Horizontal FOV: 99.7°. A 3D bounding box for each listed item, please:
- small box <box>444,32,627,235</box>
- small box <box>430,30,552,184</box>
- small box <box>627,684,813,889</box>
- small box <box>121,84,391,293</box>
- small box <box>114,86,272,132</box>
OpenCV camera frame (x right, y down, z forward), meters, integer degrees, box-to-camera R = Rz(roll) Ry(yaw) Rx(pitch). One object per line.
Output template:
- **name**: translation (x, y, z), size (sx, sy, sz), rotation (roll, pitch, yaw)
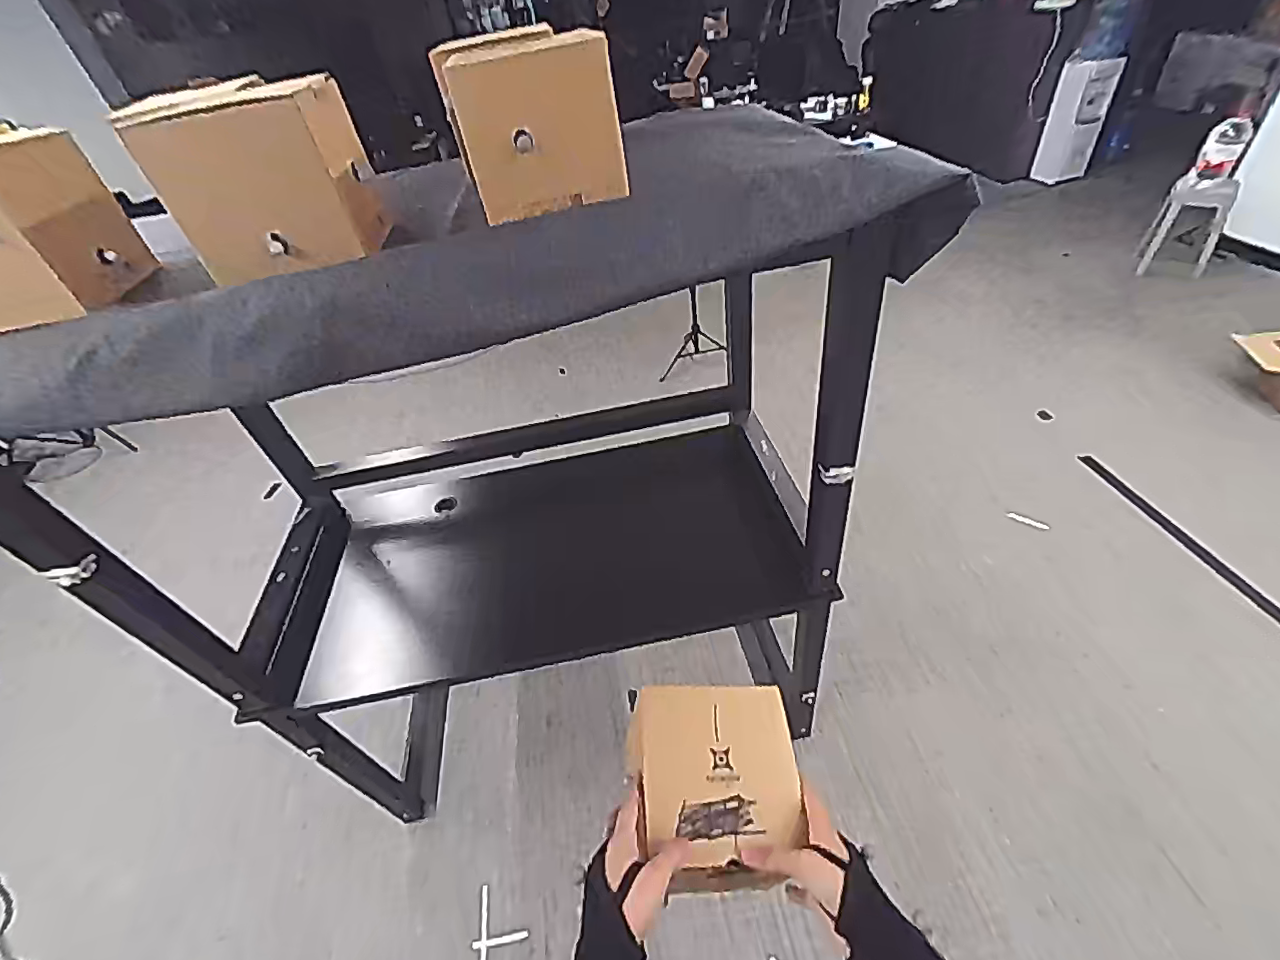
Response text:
- **small box**: translation (-0.118, -0.410, 0.647), size (0.168, 0.176, 0.179), rotation (-13, 41, -3)
- **small box**: translation (-0.205, -0.589, 0.857), size (0.179, 0.176, 0.168), rotation (-12, 43, -1)
- **small box**: translation (0.075, 0.355, 0.621), size (0.168, 0.176, 0.179), rotation (3, 46, -6)
- **small box**: translation (-0.420, -0.342, 0.636), size (0.179, 0.176, 0.168), rotation (-12, 42, -3)
- **small box**: translation (-0.624, -0.483, 0.832), size (0.168, 0.176, 0.179), rotation (-17, 43, -5)
